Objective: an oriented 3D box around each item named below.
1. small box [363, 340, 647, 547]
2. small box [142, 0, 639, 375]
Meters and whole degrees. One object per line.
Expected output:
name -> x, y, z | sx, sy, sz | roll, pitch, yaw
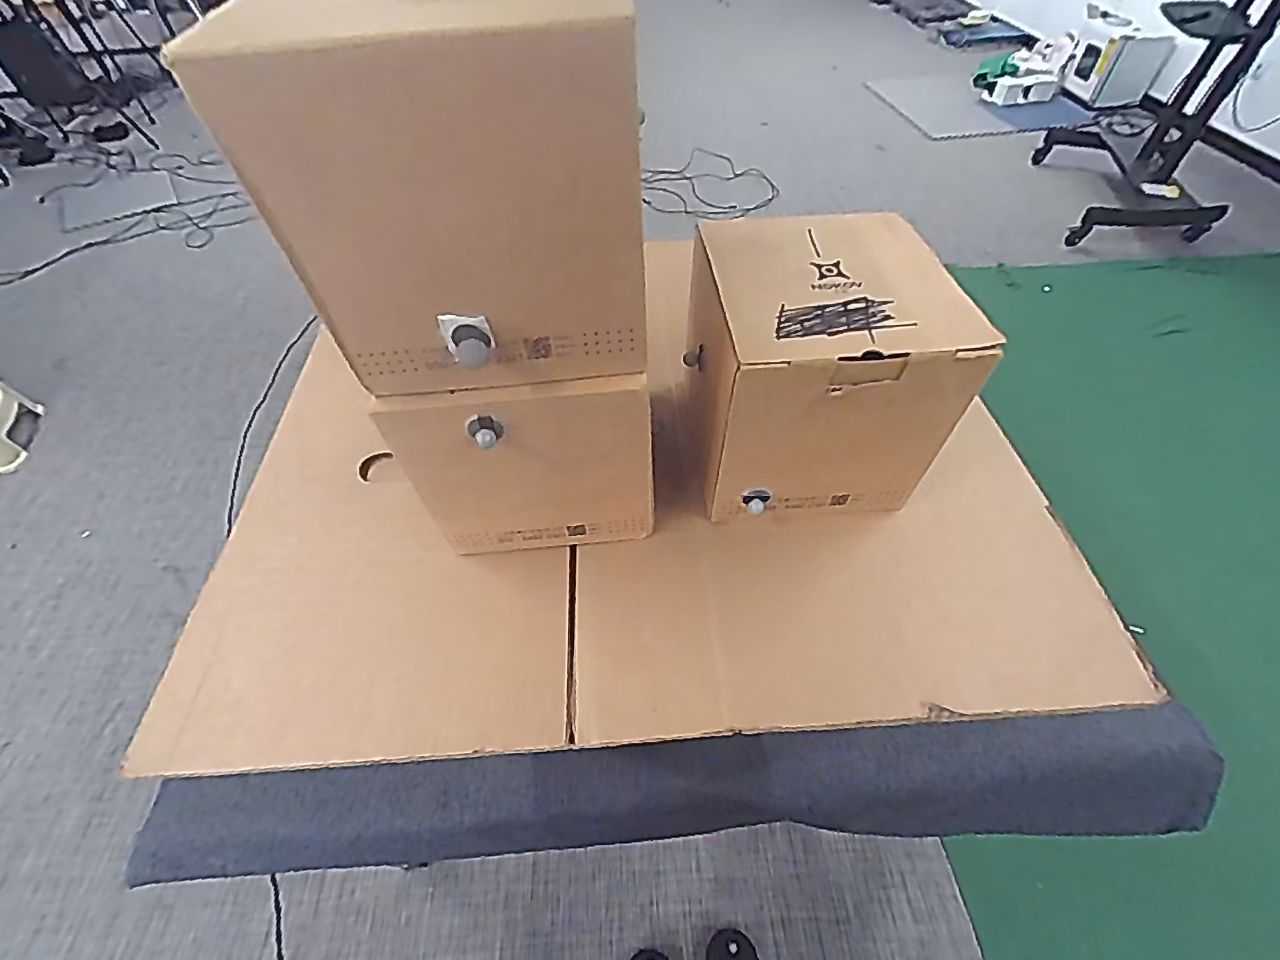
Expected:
small box -> -0.084, -0.068, 0.432 | 0.168, 0.176, 0.179 | -5, 52, 0
small box -> -0.092, -0.182, 0.295 | 0.168, 0.176, 0.179 | -7, 54, -2
